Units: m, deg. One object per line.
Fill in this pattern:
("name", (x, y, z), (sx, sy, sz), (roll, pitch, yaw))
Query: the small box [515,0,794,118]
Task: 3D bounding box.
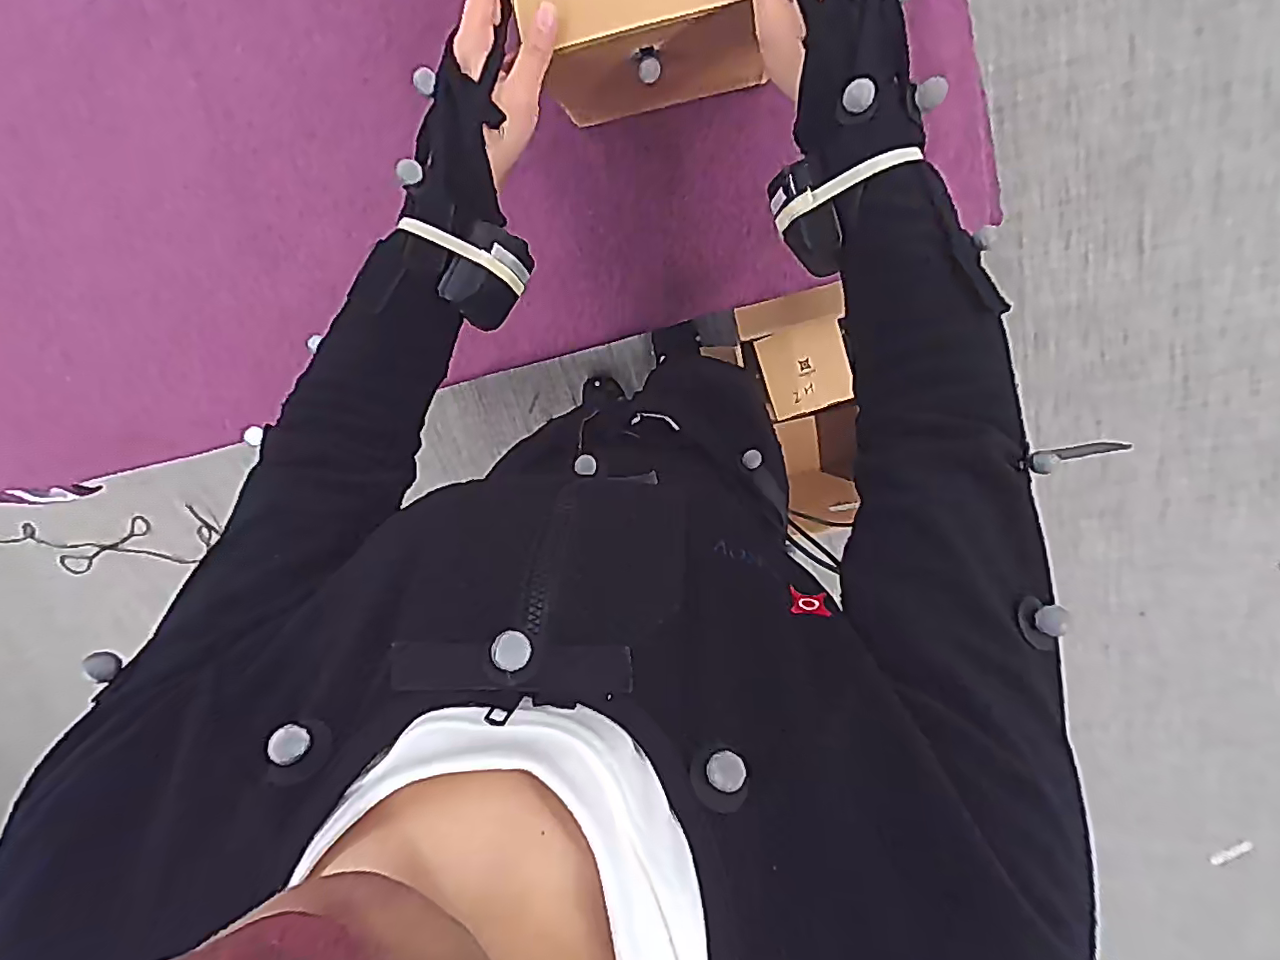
("small box", (0.007, -0.386, 0.383), (0.179, 0.176, 0.168), (-6, 110, 11))
